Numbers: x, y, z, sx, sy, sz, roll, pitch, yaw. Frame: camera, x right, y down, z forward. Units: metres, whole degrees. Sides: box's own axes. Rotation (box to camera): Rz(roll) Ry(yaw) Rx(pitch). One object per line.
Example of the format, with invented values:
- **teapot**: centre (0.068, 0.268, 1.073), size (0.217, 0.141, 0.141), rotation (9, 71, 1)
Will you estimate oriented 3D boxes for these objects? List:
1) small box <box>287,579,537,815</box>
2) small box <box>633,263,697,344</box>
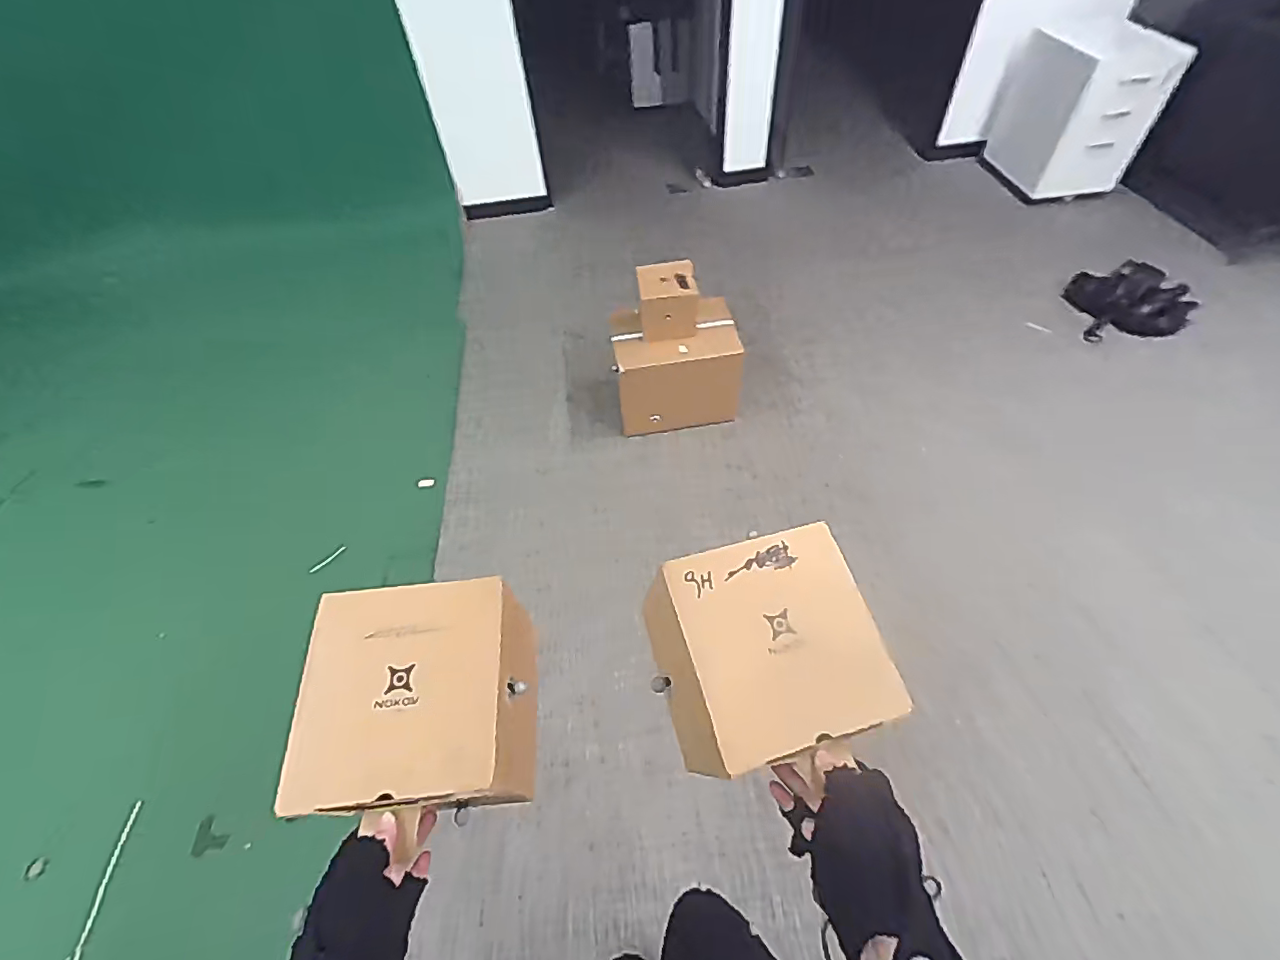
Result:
- **small box**: centre (-0.197, 0.217, 0.529), size (0.168, 0.176, 0.179), rotation (-7, 57, -2)
- **small box**: centre (0.076, -0.559, 1.723), size (0.179, 0.176, 0.168), rotation (-9, 58, -3)
